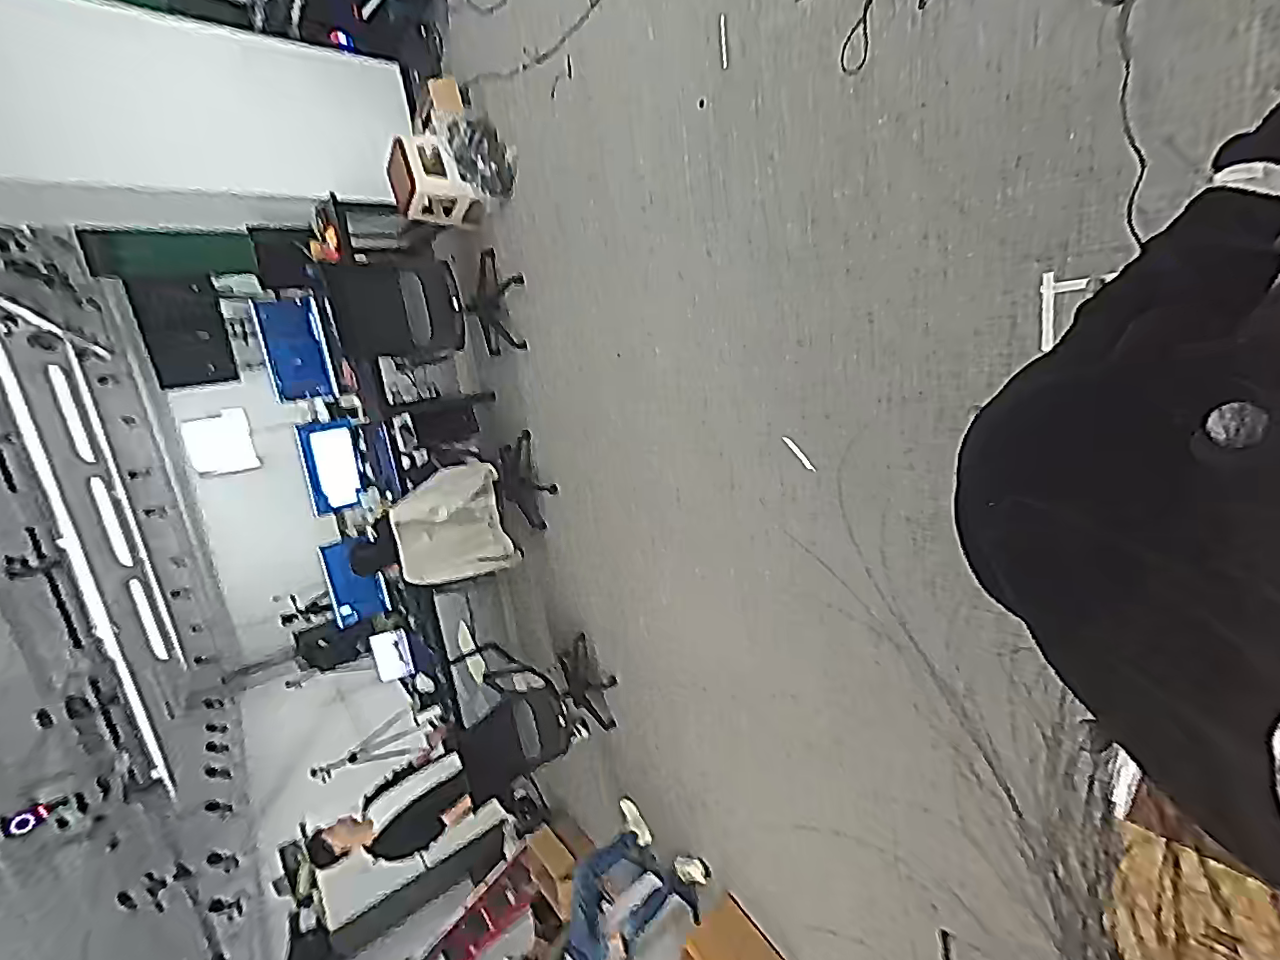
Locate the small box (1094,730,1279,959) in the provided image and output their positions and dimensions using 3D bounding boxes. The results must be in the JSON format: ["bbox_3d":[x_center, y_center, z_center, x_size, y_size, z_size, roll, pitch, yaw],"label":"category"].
[{"bbox_3d":[0.596,0.402,0.551,0.168,0.176,0.179,11,113,49],"label":"small box"}]
